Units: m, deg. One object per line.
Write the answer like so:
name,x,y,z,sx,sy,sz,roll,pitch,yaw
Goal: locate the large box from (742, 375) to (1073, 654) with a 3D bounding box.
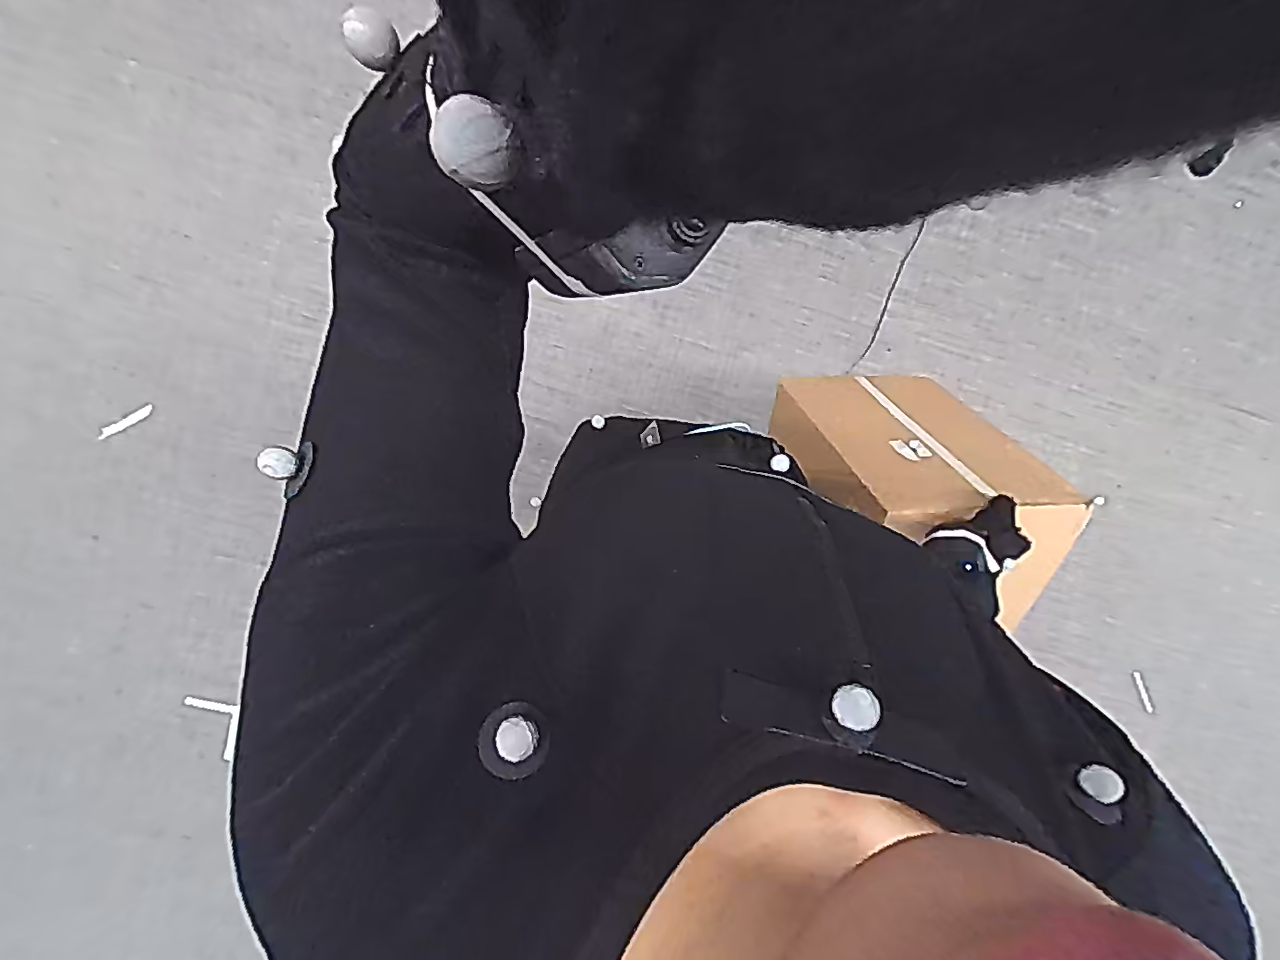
large box,0.410,0.045,0.967,0.320,0.408,0.320,-1,128,-9
